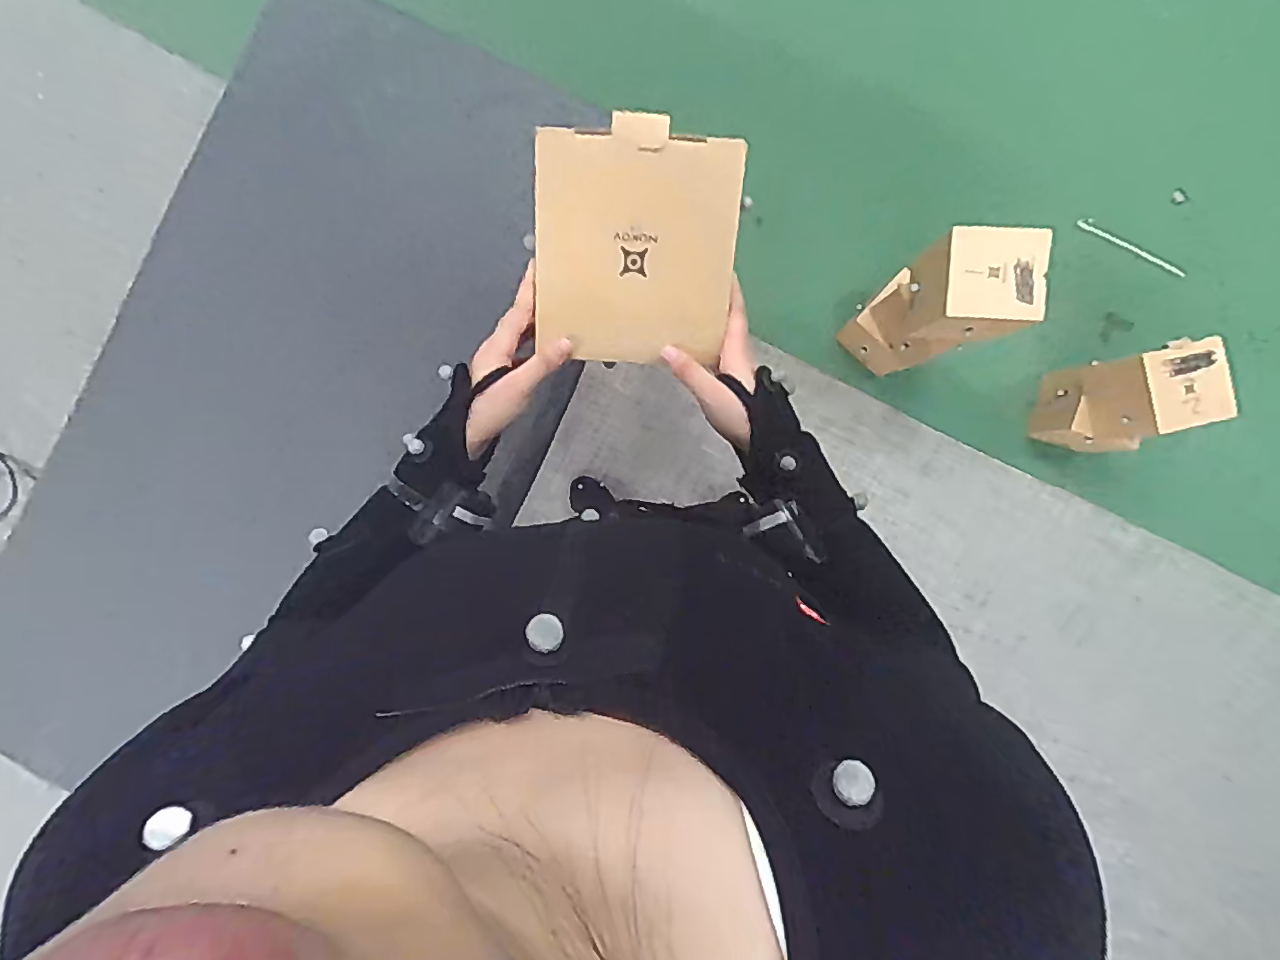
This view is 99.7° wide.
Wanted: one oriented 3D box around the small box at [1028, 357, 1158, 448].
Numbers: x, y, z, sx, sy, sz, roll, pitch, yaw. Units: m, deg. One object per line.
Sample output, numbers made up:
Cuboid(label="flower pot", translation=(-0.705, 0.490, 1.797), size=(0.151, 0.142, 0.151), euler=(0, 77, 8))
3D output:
Cuboid(label="small box", translation=(1.127, -0.188, 1.360), size=(0.168, 0.176, 0.179), euler=(17, 91, 1))

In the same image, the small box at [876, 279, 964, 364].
Cuboid(label="small box", translation=(0.656, -0.376, 1.207), size=(0.179, 0.176, 0.168), euler=(-27, 92, 2))

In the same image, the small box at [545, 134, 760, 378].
Cuboid(label="small box", translation=(0.007, -0.201, 0.512), size=(0.168, 0.176, 0.179), euler=(3, 109, -1))

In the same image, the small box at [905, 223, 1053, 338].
Cuboid(label="small box", translation=(0.643, -0.376, 1.043), size=(0.179, 0.176, 0.168), euler=(3, 93, 2))

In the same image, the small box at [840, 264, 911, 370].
Cuboid(label="small box", translation=(0.635, -0.401, 1.369), size=(0.168, 0.176, 0.179), euler=(43, 92, -1))
